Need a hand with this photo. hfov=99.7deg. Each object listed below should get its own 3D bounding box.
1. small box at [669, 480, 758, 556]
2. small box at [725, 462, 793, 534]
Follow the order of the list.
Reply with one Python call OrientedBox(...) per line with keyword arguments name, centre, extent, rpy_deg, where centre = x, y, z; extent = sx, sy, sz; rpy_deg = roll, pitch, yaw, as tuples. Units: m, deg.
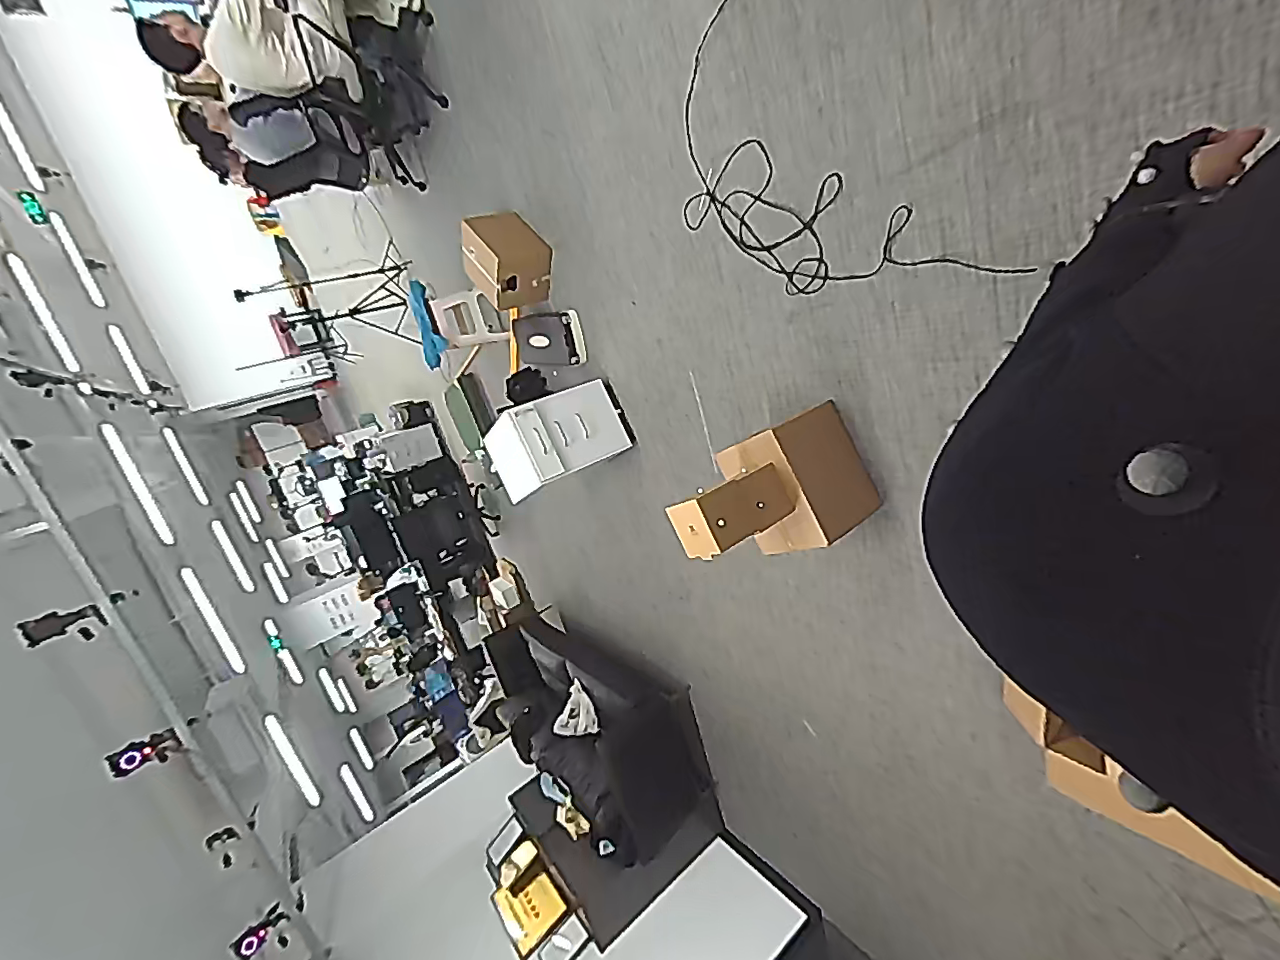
OrientedBox(name="small box", centre=(0.226, 0.112, 1.644), extent=(0.168, 0.176, 0.179), rpy_deg=(-24, 92, 58))
OrientedBox(name="small box", centre=(0.357, 0.064, 1.728), extent=(0.168, 0.176, 0.179), rpy_deg=(-25, 90, 59))
